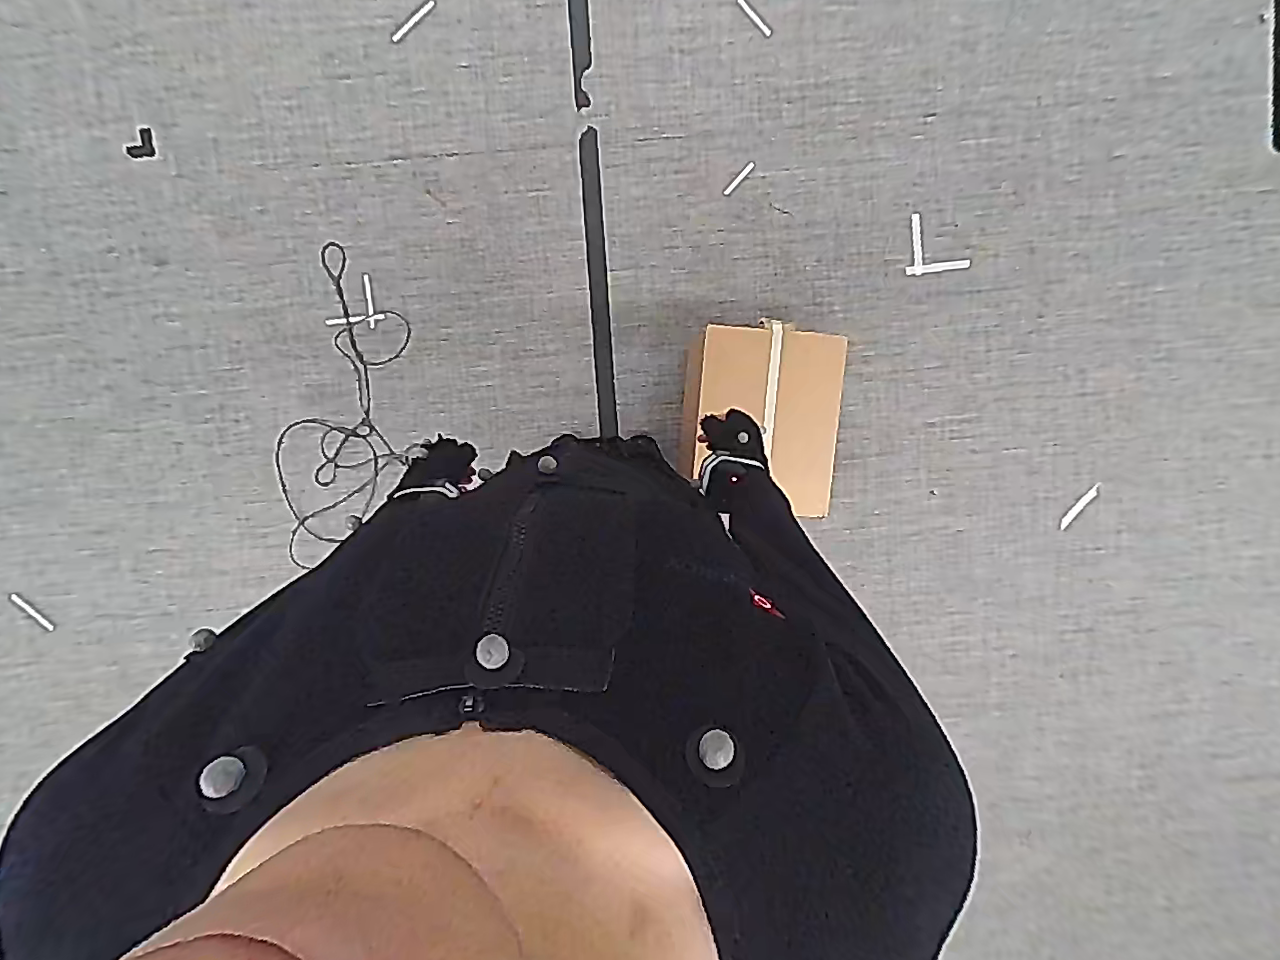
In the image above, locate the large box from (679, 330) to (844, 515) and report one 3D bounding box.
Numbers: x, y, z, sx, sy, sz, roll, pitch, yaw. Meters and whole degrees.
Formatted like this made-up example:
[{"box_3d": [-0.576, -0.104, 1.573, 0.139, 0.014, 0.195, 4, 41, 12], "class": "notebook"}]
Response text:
[{"box_3d": [0.279, -0.143, 1.352, 0.320, 0.320, 0.408, 4, 97, -3], "class": "large box"}]
